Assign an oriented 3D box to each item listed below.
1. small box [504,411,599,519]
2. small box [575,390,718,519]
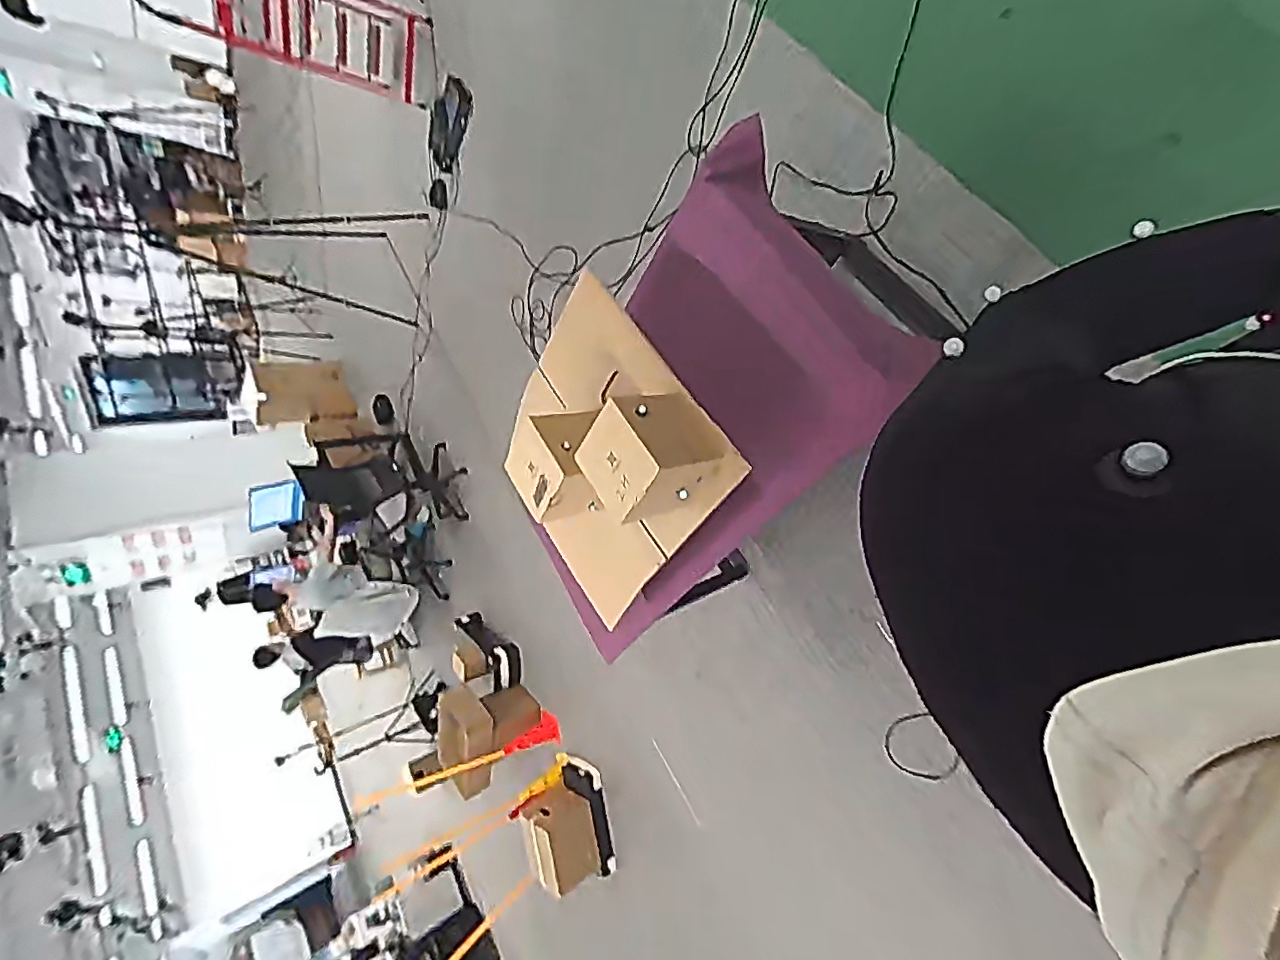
[{"bbox_3d":[-0.173,-0.041,1.216,0.179,0.176,0.168,56,131,23],"label":"small box"},{"bbox_3d":[0.012,-0.053,1.025,0.179,0.176,0.168,56,132,22],"label":"small box"}]
